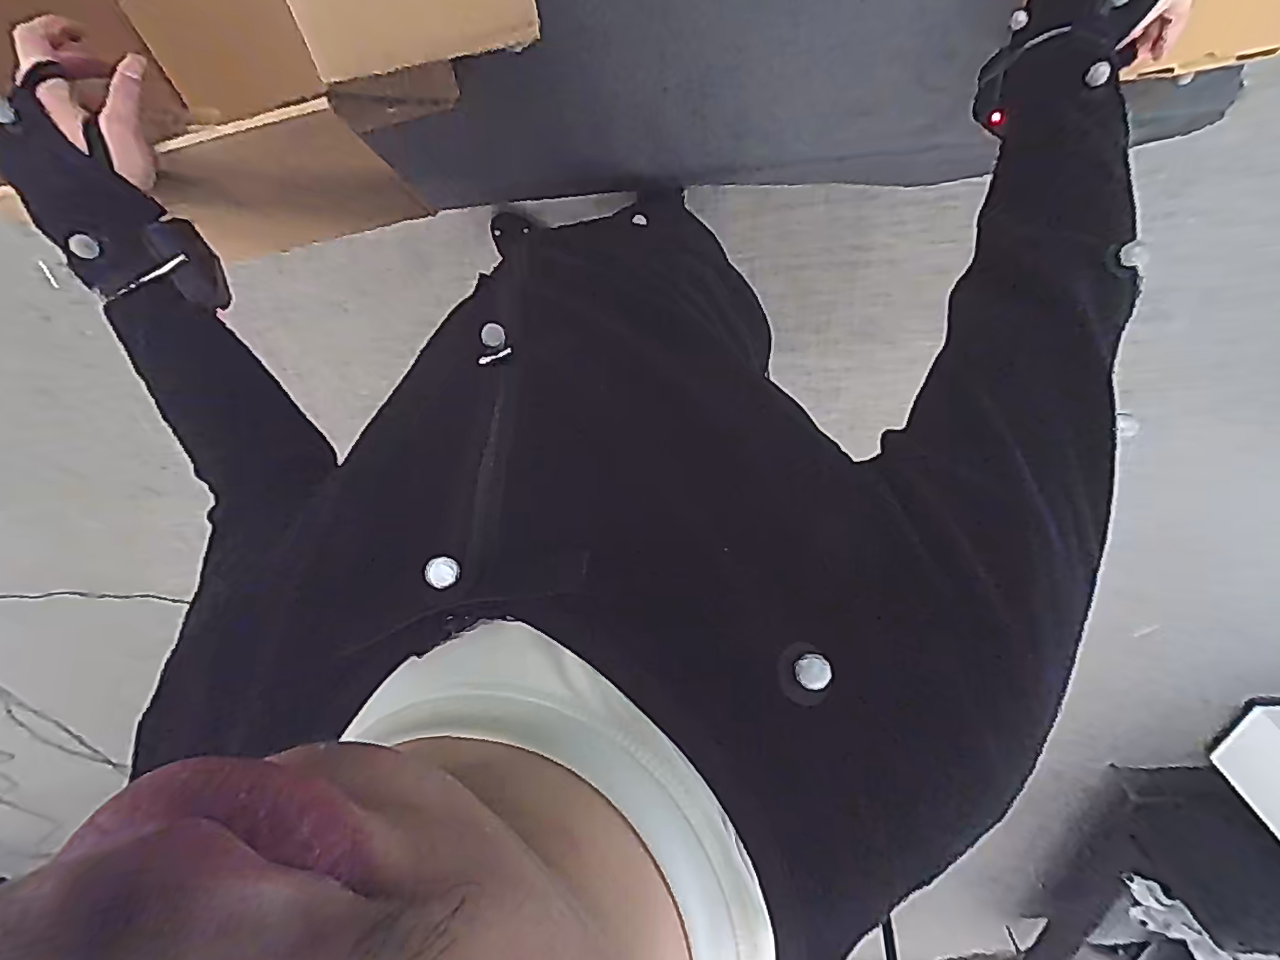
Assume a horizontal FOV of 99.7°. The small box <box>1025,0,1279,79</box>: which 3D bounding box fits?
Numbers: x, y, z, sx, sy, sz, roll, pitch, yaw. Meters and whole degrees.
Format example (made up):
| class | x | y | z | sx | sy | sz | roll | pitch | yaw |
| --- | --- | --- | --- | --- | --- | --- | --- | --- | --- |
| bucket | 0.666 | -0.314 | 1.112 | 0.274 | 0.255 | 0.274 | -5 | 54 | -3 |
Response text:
| class | x | y | z | sx | sy | sz | roll | pitch | yaw |
| --- | --- | --- | --- | --- | --- | --- | --- | --- | --- |
| small box | 0.471 | -0.466 | 0.466 | 0.168 | 0.176 | 0.179 | -5 | 123 | 10 |
